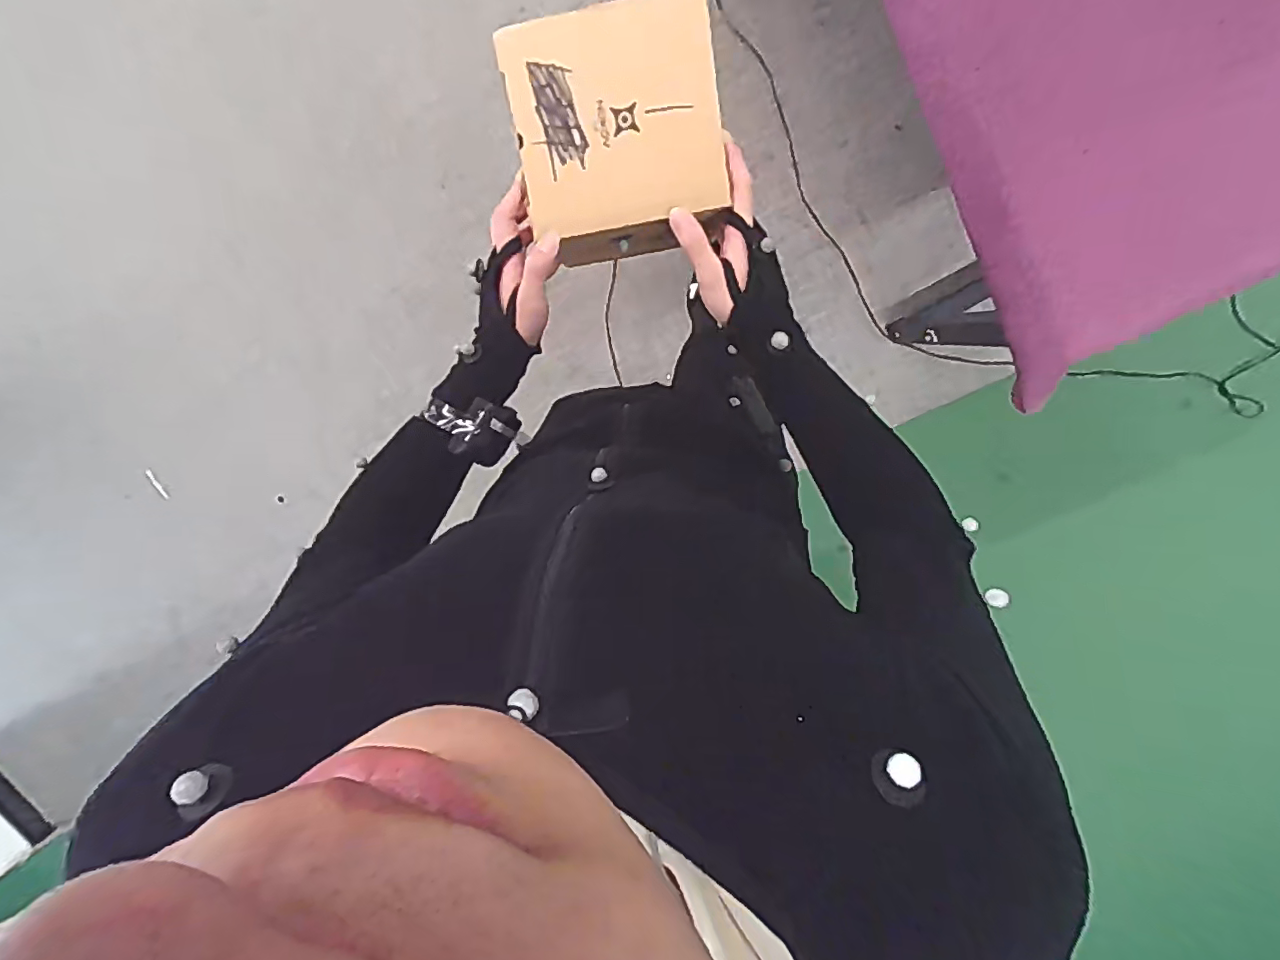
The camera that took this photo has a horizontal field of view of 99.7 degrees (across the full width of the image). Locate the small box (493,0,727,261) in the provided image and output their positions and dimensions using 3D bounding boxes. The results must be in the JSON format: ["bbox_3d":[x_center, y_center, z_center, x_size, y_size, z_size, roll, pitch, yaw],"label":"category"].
[{"bbox_3d":[-0.019,-0.322,0.524,0.179,0.176,0.168,-9,104,4],"label":"small box"}]
